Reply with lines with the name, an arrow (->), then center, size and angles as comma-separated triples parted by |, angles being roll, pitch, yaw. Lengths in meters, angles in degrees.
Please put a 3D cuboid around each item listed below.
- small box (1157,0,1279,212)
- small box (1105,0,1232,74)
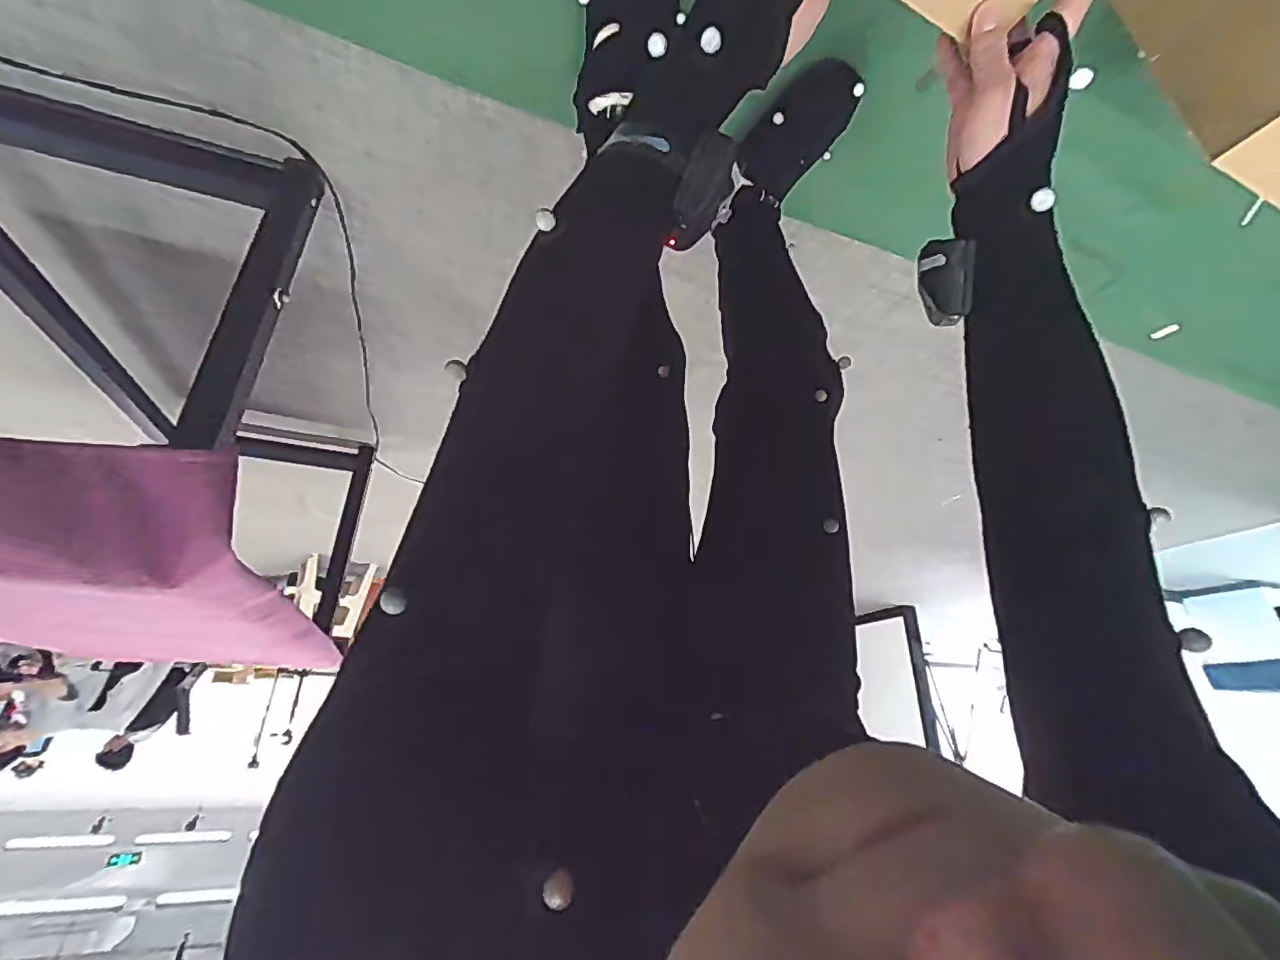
small box -> 0.691, -0.417, 0.543 | 0.168, 0.176, 0.179 | 11, 154, -21
small box -> 0.691, -0.566, 0.610 | 0.168, 0.176, 0.179 | 10, 154, -22
